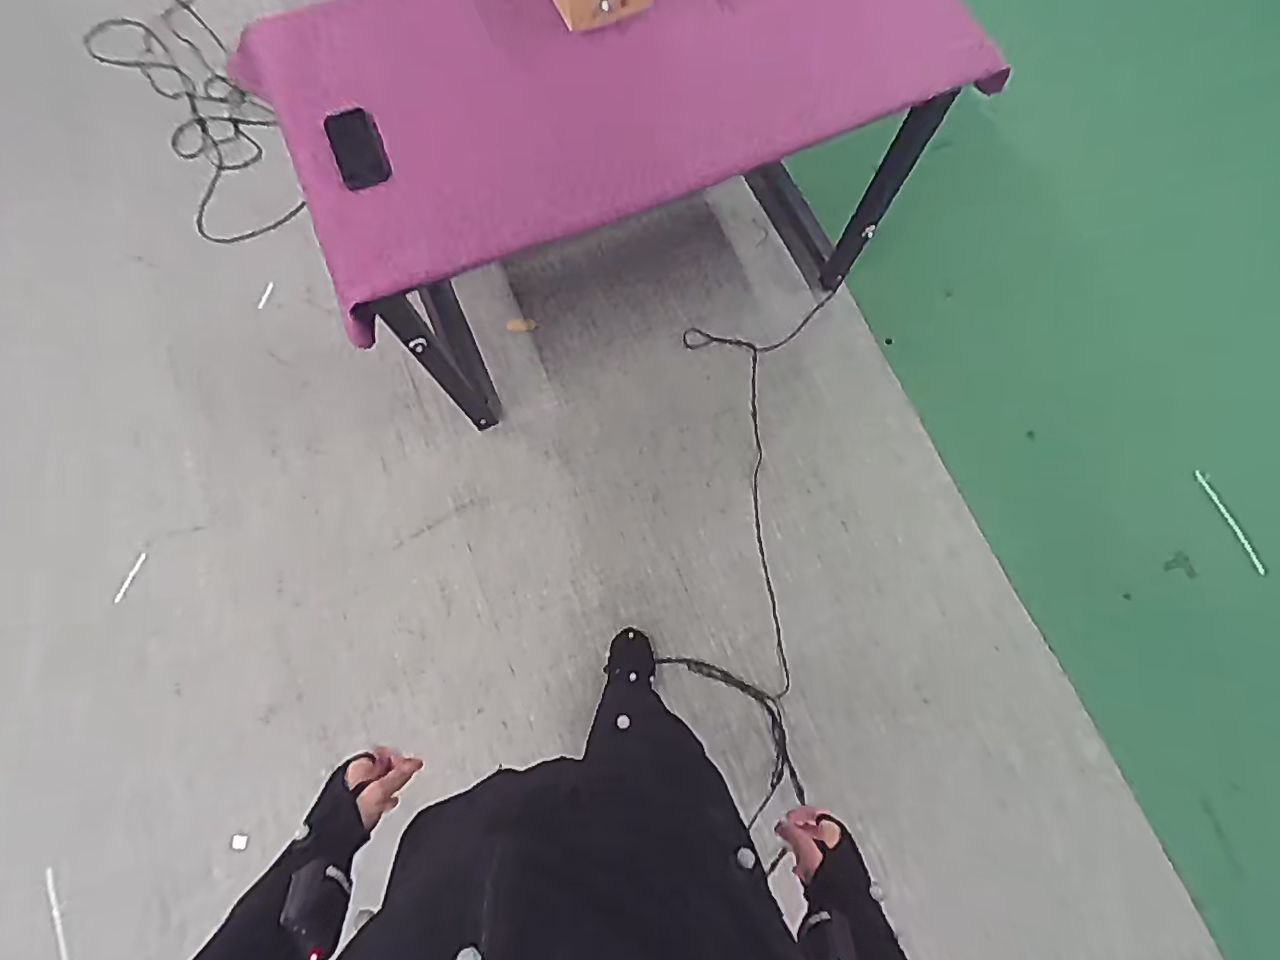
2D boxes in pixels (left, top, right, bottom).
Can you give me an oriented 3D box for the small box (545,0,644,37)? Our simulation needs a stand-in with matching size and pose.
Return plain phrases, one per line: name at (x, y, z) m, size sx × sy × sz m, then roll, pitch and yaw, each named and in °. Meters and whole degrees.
small box at (-0.099, -0.922, 0.926) m, size 0.168 × 0.176 × 0.179 m, roll -24°, pitch 78°, yaw -4°
